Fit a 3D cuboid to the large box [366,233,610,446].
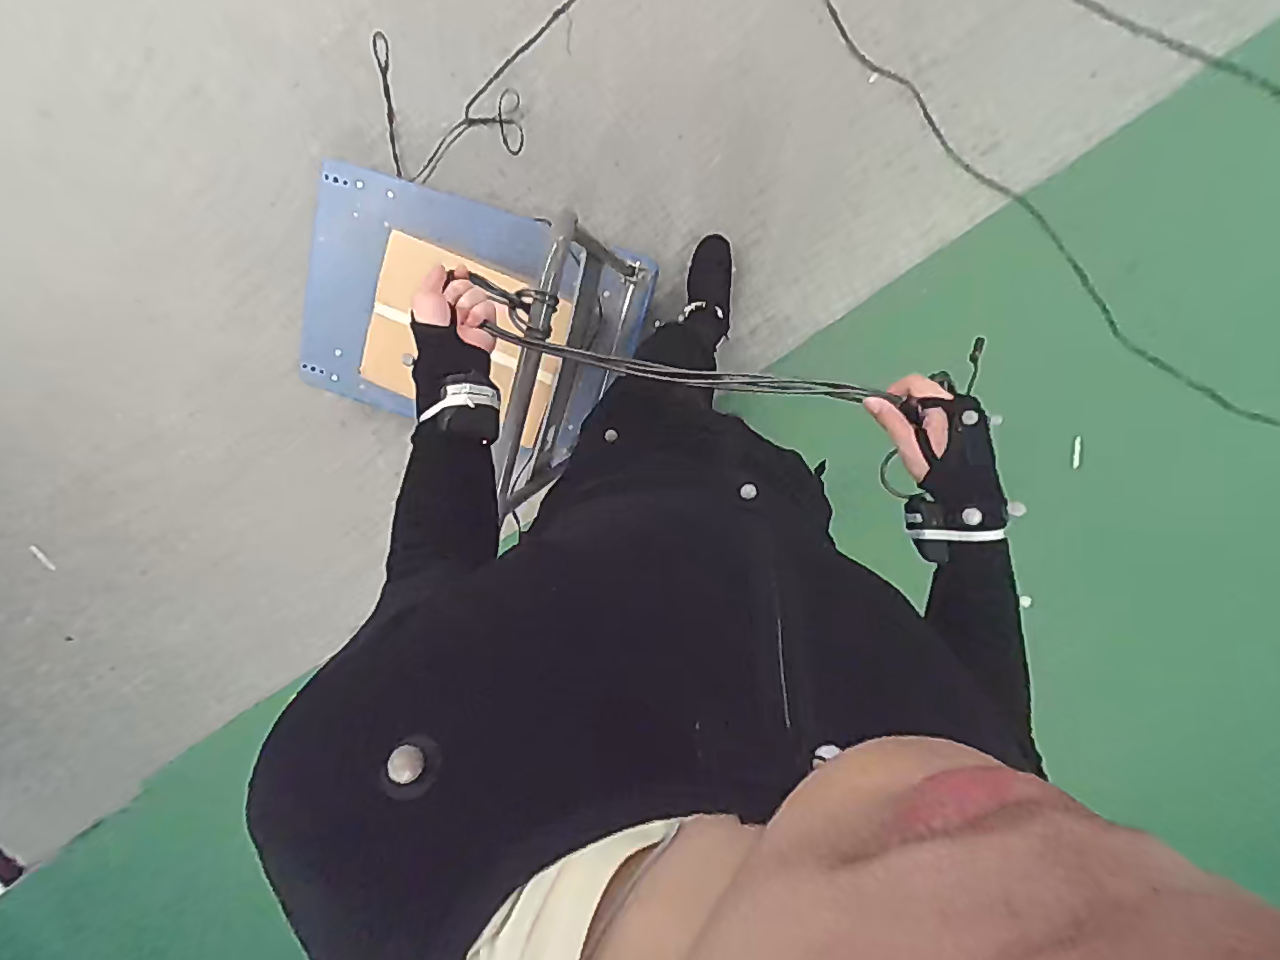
[{"bbox_3d":[-0.324,-0.318,1.235,0.408,0.320,0.320,23,107,1],"label":"large box"}]
